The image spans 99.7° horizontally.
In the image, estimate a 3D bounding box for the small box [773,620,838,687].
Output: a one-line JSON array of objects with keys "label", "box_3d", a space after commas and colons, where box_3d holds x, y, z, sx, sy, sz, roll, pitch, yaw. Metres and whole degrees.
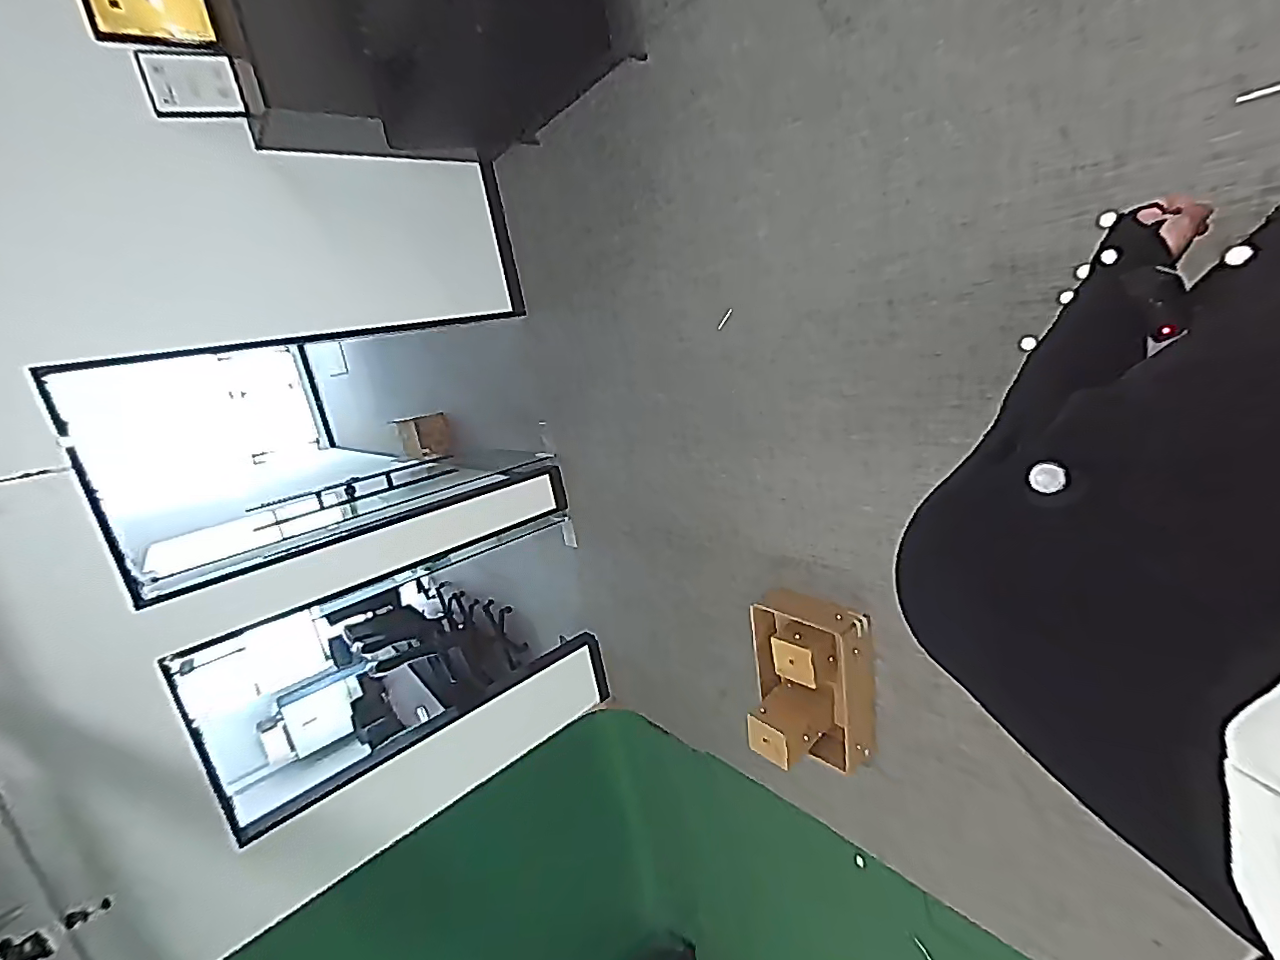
[{"label": "small box", "box_3d": [0.636, 0.658, 2.075, 0.179, 0.176, 0.168, 5, 110, 49]}]

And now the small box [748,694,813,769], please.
[{"label": "small box", "box_3d": [0.536, 0.948, 2.060, 0.179, 0.176, 0.168, 12, 115, 48]}]
